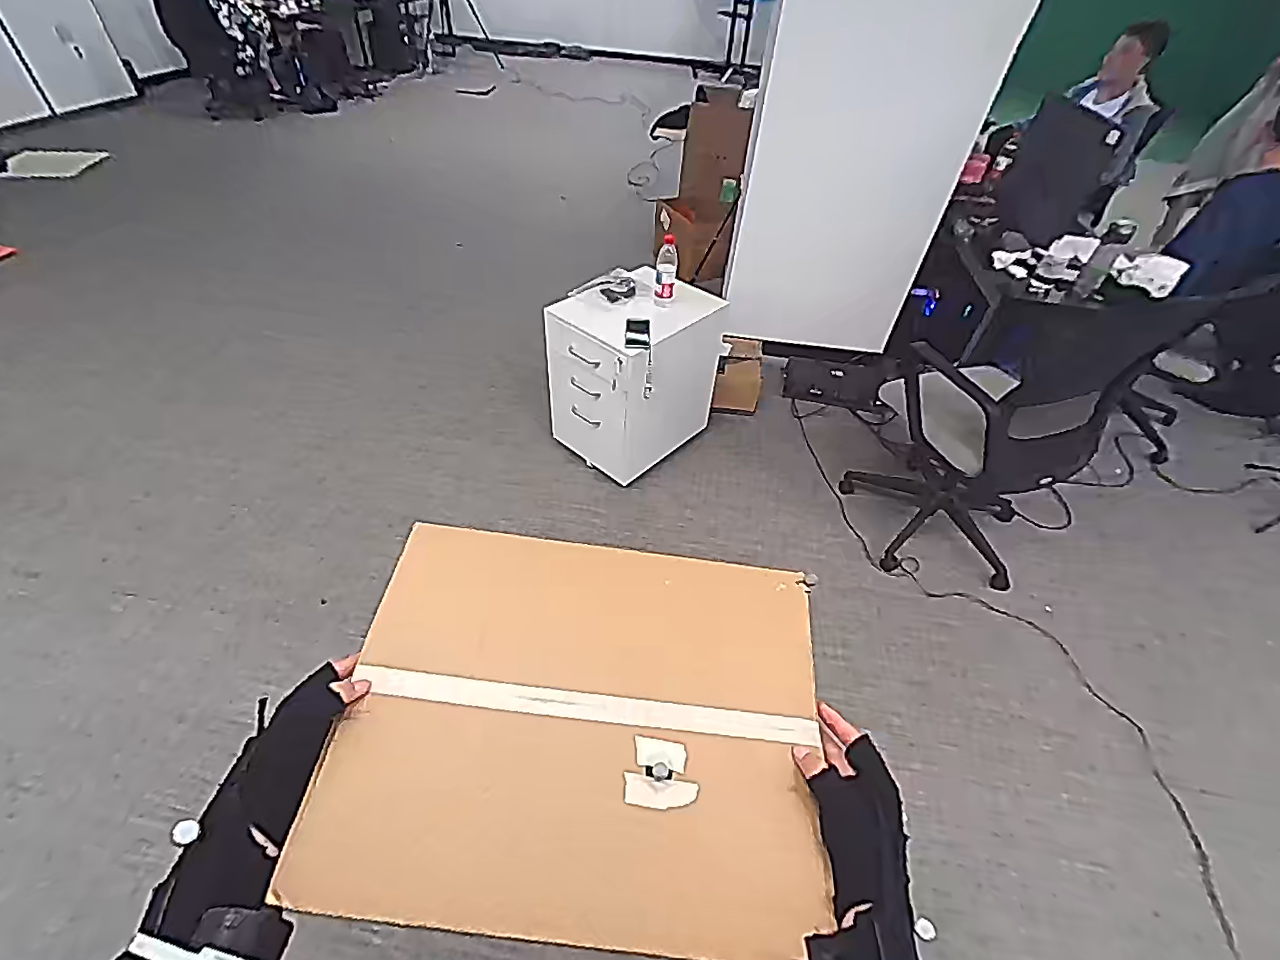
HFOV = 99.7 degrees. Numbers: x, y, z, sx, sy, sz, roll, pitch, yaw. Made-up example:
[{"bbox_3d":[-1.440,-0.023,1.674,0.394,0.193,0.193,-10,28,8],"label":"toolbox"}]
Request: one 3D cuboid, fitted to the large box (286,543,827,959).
[{"bbox_3d":[-0.062,0.297,0.596,0.408,0.320,0.320,8,54,-1],"label":"large box"}]
